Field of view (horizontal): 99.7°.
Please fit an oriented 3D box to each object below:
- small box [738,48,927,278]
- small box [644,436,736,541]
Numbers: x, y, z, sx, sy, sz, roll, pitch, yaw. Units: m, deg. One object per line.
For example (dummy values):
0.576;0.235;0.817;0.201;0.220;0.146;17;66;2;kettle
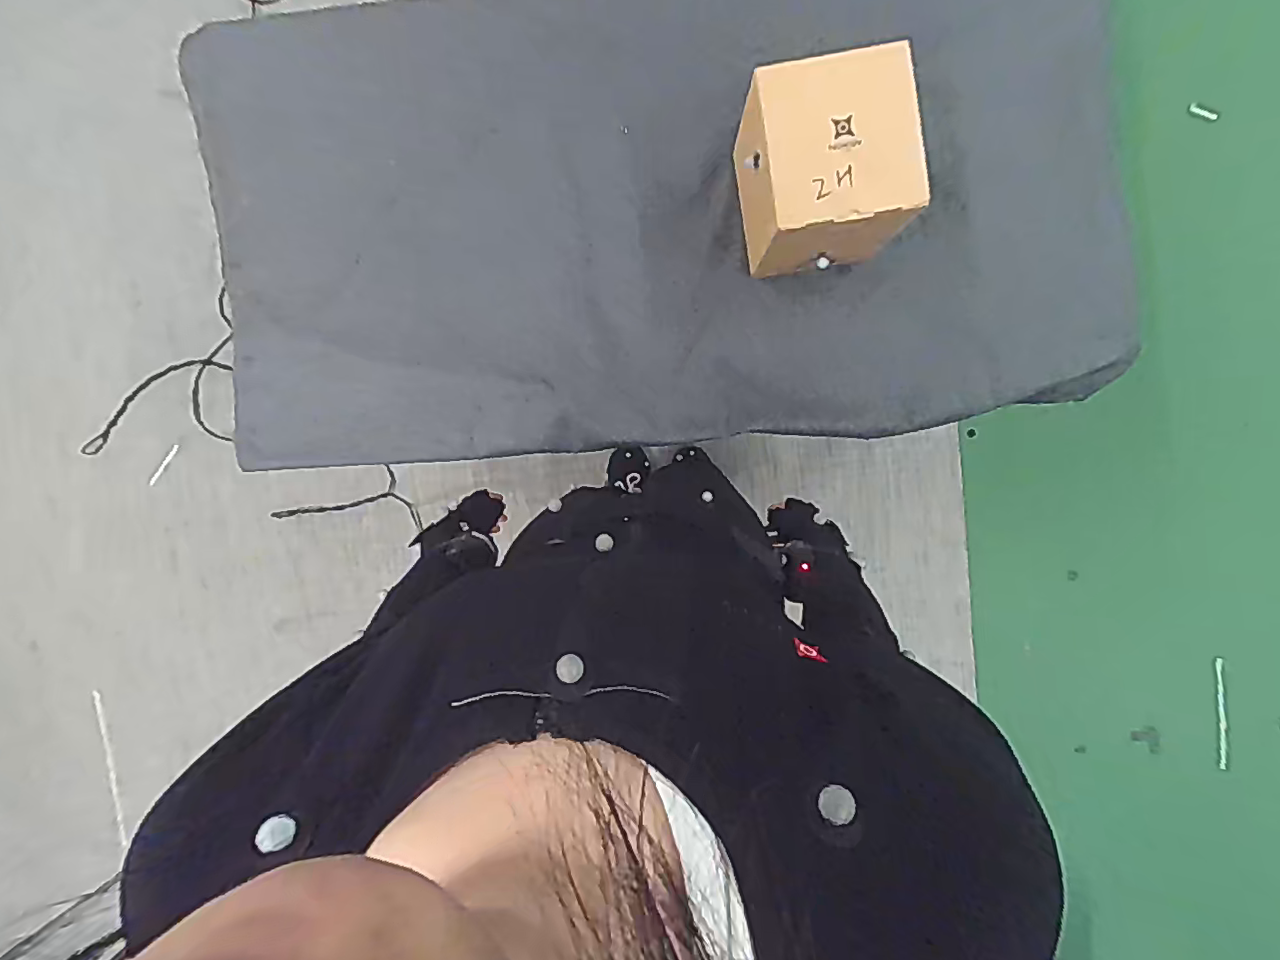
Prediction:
0.222;-0.372;0.665;0.168;0.176;0.179;-8;93;3;small box
0.126;0.024;1.414;0.179;0.176;0.168;-38;62;-21;small box
